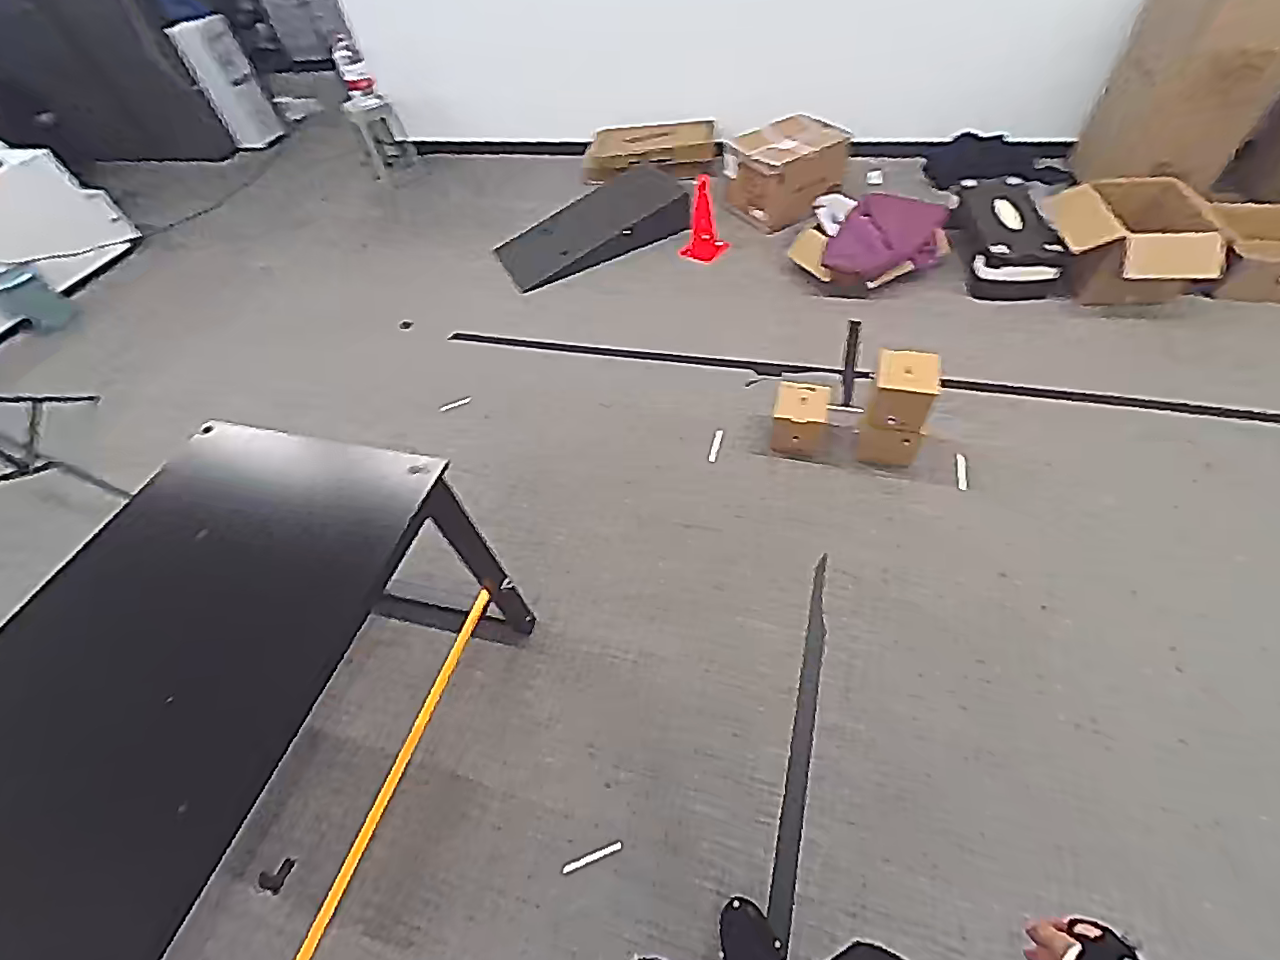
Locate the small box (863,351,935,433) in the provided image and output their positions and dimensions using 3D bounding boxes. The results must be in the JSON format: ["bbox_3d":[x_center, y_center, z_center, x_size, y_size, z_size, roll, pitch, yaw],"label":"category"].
[{"bbox_3d":[0.800,-0.272,1.677,0.168,0.176,0.179,10,56,15],"label":"small box"}]

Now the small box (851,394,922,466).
[{"bbox_3d":[0.817,-0.164,1.798,0.179,0.176,0.168,9,54,14],"label":"small box"}]

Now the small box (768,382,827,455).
[{"bbox_3d":[0.541,-0.208,1.867,0.168,0.176,0.179,11,55,16],"label":"small box"}]
